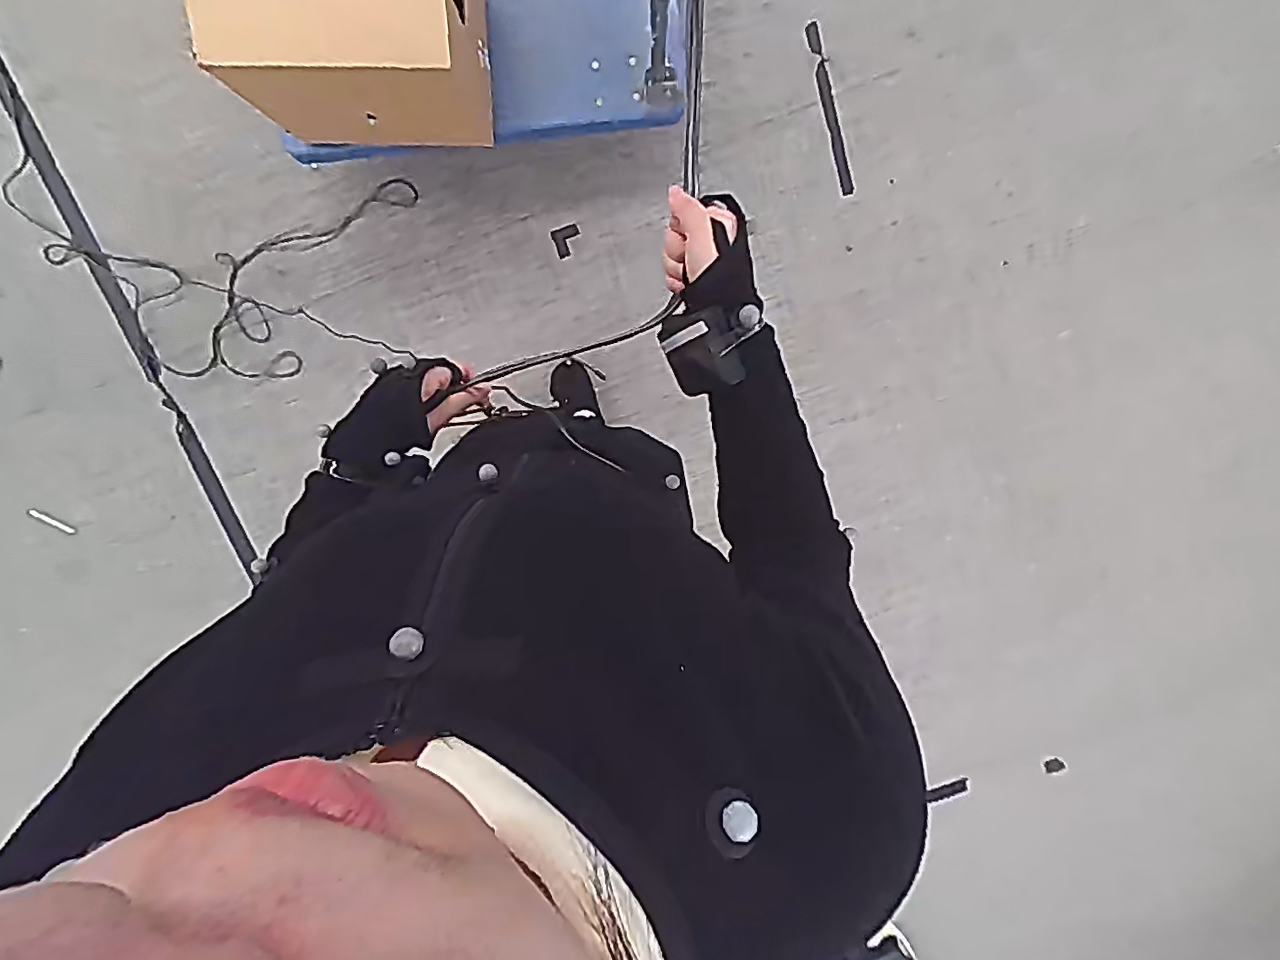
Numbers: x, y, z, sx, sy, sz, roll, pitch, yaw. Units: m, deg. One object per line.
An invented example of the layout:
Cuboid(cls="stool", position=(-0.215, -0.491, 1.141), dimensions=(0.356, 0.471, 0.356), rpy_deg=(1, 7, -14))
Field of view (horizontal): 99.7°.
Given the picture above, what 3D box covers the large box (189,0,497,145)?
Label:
Cuboid(cls="large box", position=(-0.502, -0.833, 0.976), dimensions=(0.408, 0.320, 0.320), rpy_deg=(-1, 101, -2))
